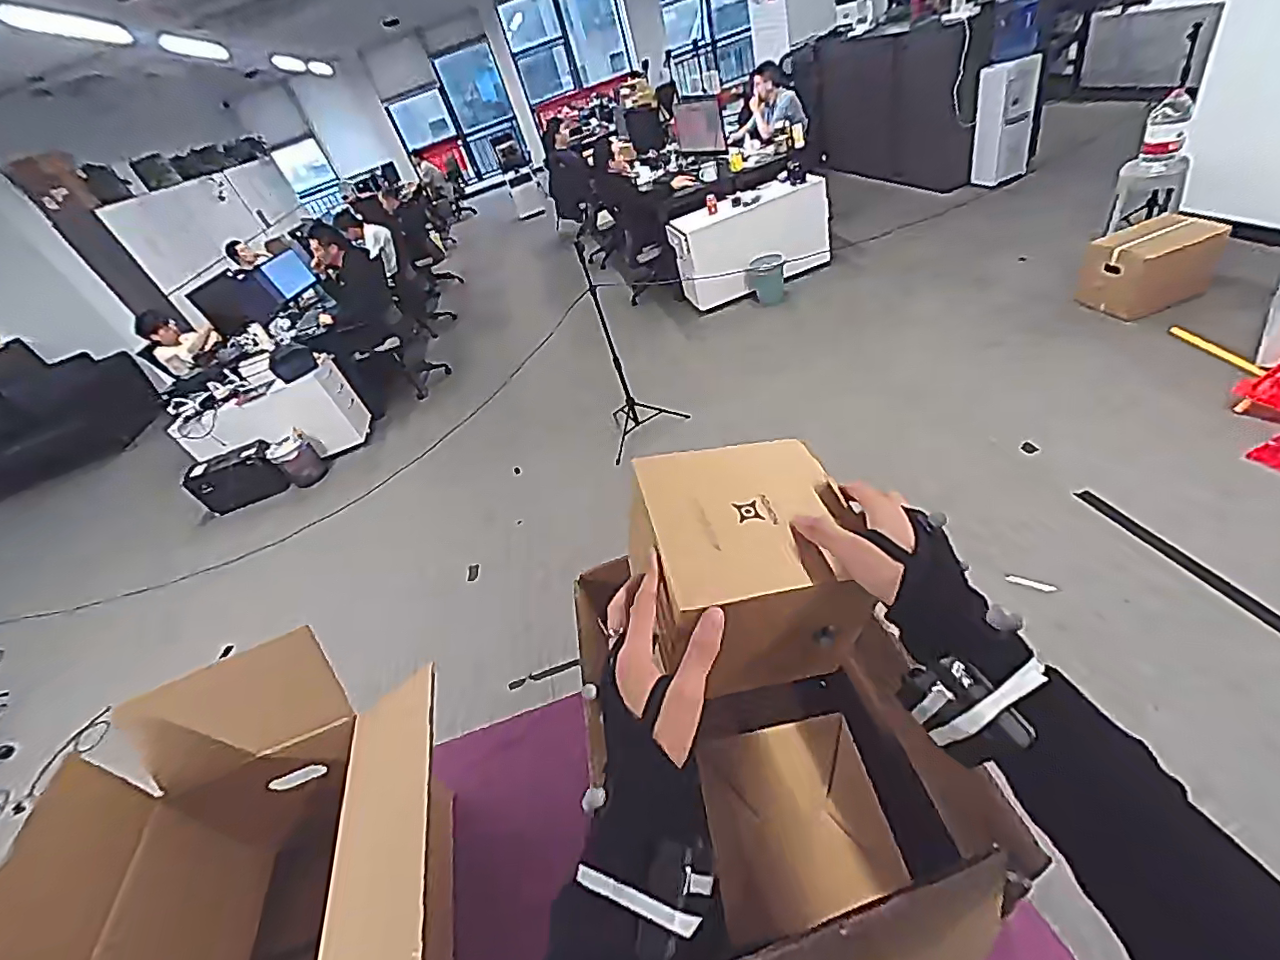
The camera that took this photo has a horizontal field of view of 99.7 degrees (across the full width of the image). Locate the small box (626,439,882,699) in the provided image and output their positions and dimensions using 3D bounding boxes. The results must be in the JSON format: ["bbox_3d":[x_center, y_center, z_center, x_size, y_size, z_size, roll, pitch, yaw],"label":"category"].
[{"bbox_3d":[0.086,0.084,0.516,0.179,0.176,0.168,-8,45,-10],"label":"small box"}]
